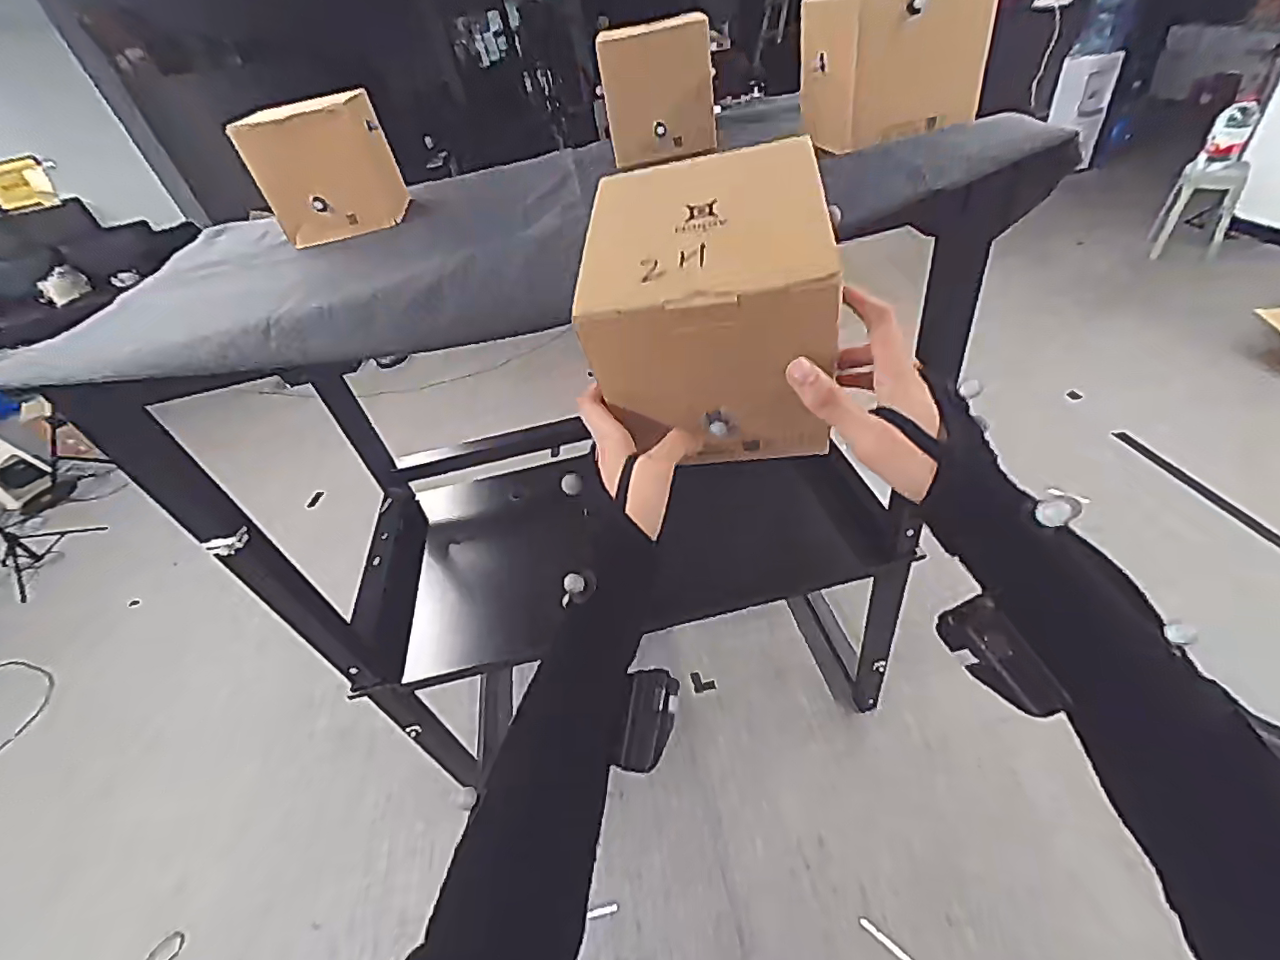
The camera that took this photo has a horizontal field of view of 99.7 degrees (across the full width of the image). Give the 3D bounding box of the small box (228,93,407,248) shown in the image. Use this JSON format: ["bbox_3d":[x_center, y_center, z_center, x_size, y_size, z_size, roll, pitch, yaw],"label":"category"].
[{"bbox_3d":[-0.489,-0.489,0.856,0.168,0.176,0.179,-15,42,-3],"label":"small box"}]

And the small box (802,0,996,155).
[{"bbox_3d":[0.317,-0.539,0.702,0.168,0.176,0.179,-14,40,0],"label":"small box"}]

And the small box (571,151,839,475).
[{"bbox_3d":[0.058,-0.125,0.437,0.168,0.176,0.179,-4,55,13],"label":"small box"}]
